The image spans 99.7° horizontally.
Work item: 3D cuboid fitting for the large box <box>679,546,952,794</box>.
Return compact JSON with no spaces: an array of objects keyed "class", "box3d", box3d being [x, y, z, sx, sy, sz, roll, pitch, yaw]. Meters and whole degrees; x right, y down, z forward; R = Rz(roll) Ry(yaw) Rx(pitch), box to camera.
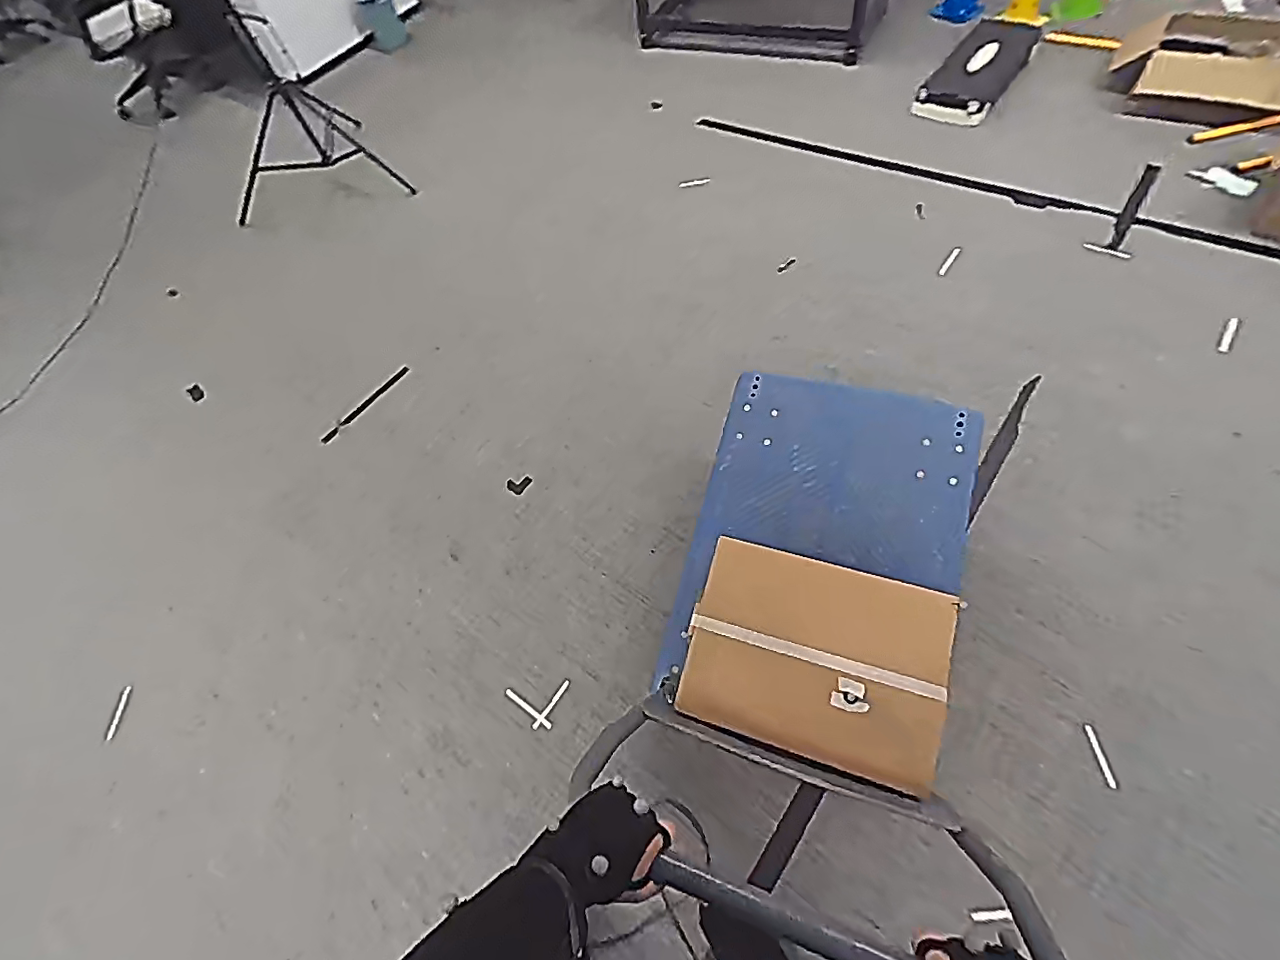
[{"class":"large box","box3d":[0.317,0.345,1.050,0.408,0.320,0.320,13,77,15]}]
